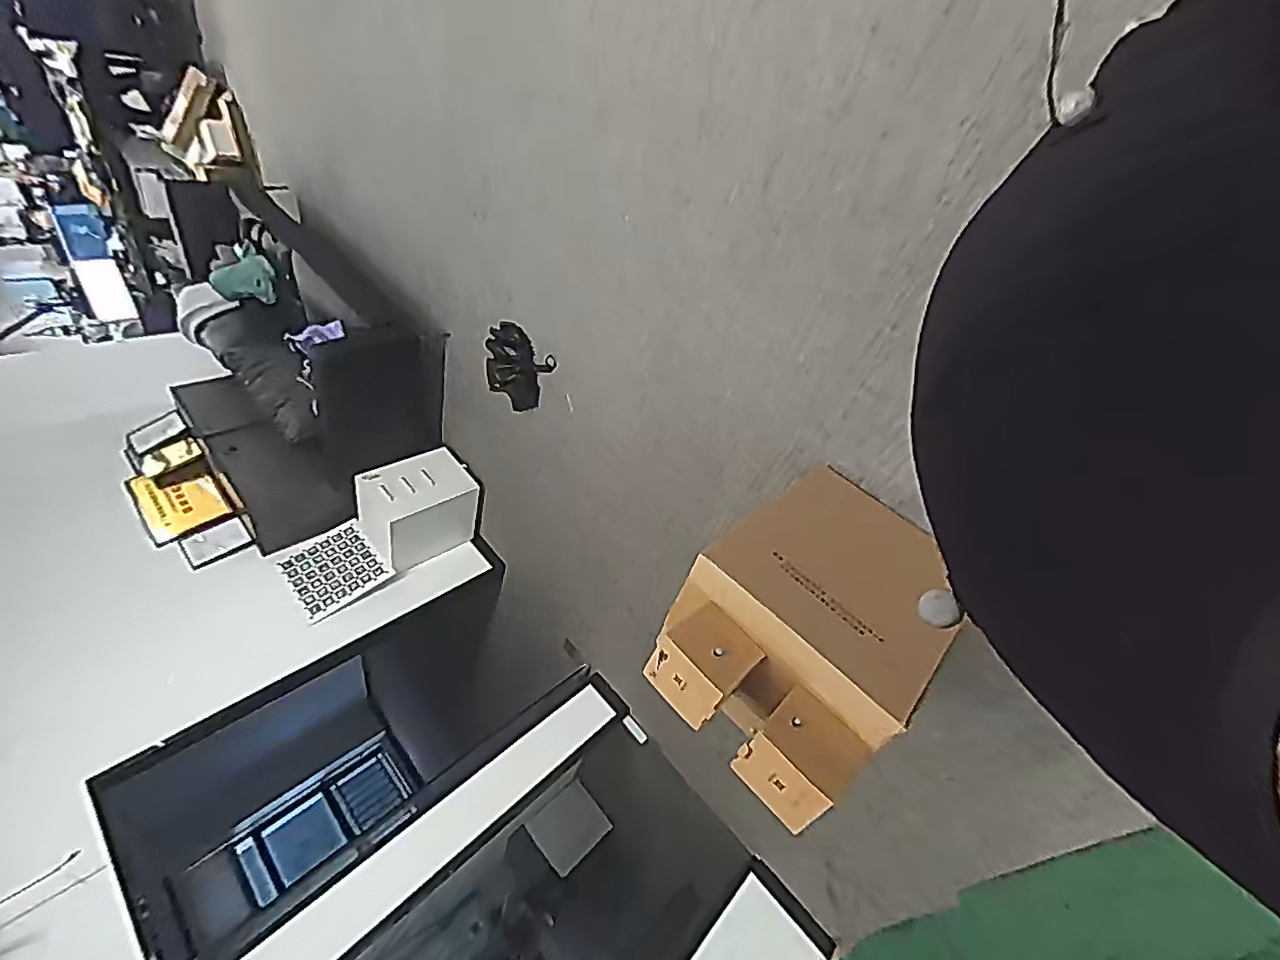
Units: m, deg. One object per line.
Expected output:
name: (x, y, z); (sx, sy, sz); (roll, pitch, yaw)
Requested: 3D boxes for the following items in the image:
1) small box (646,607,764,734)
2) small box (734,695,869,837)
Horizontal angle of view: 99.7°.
small box: (0.148, 0.421, 1.220); (0.179, 0.176, 0.168); (41, 131, 23)
small box: (0.332, 0.574, 1.112); (0.179, 0.176, 0.168); (38, 131, 24)
